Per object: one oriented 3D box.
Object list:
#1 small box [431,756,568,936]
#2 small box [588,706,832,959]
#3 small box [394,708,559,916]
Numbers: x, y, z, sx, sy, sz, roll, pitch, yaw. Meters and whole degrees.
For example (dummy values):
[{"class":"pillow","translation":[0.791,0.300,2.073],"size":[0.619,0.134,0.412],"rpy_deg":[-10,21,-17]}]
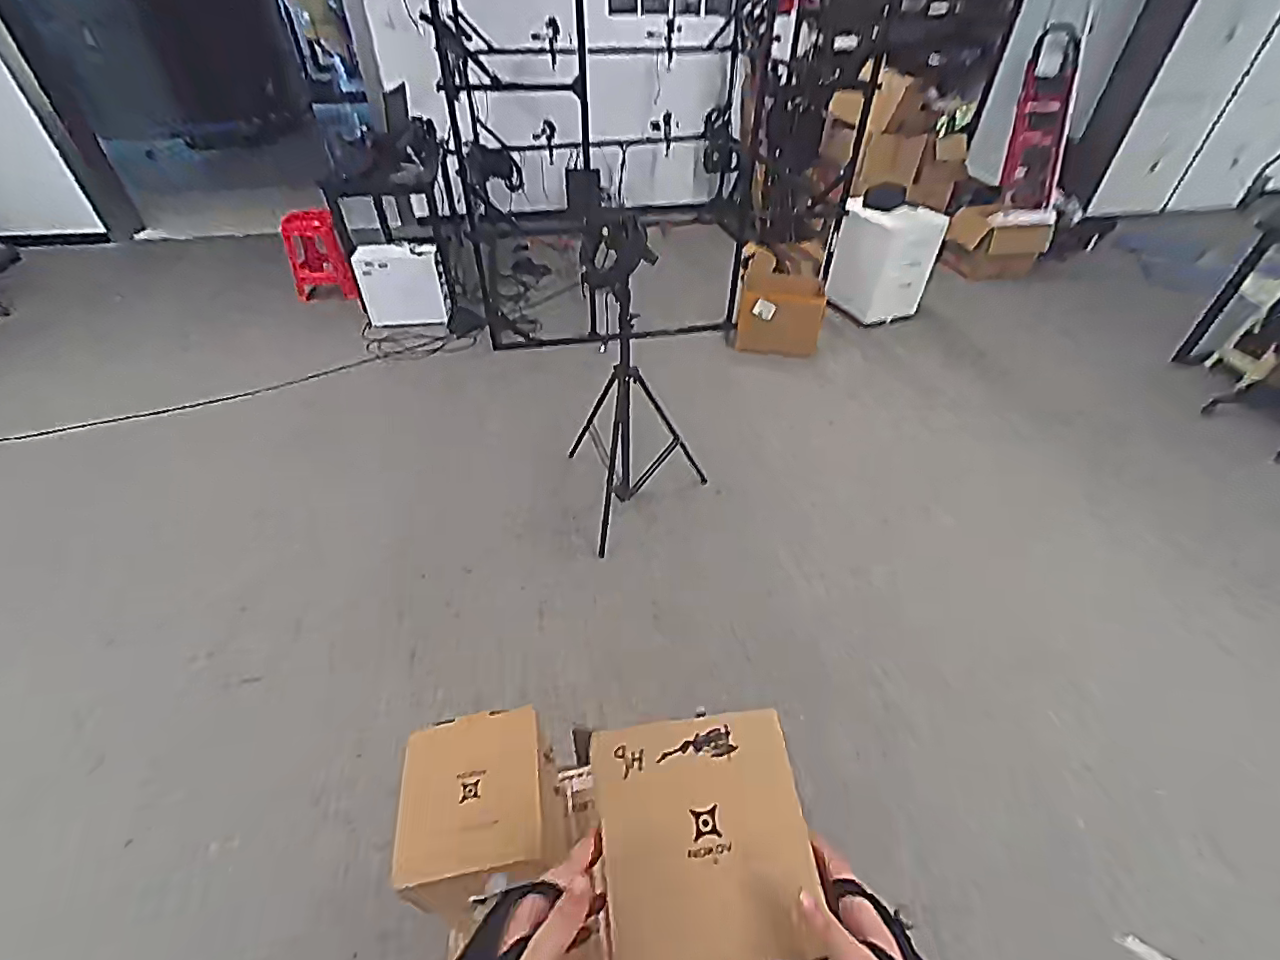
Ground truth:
[{"class":"small box","translation":[-0.204,0.549,0.817],"size":[0.168,0.176,0.179],"rpy_deg":[-8,44,-8]},{"class":"small box","translation":[0.043,0.319,0.491],"size":[0.168,0.176,0.179],"rpy_deg":[-5,60,-9]},{"class":"small box","translation":[-0.201,0.431,0.706],"size":[0.168,0.176,0.179],"rpy_deg":[-9,44,-8]}]
